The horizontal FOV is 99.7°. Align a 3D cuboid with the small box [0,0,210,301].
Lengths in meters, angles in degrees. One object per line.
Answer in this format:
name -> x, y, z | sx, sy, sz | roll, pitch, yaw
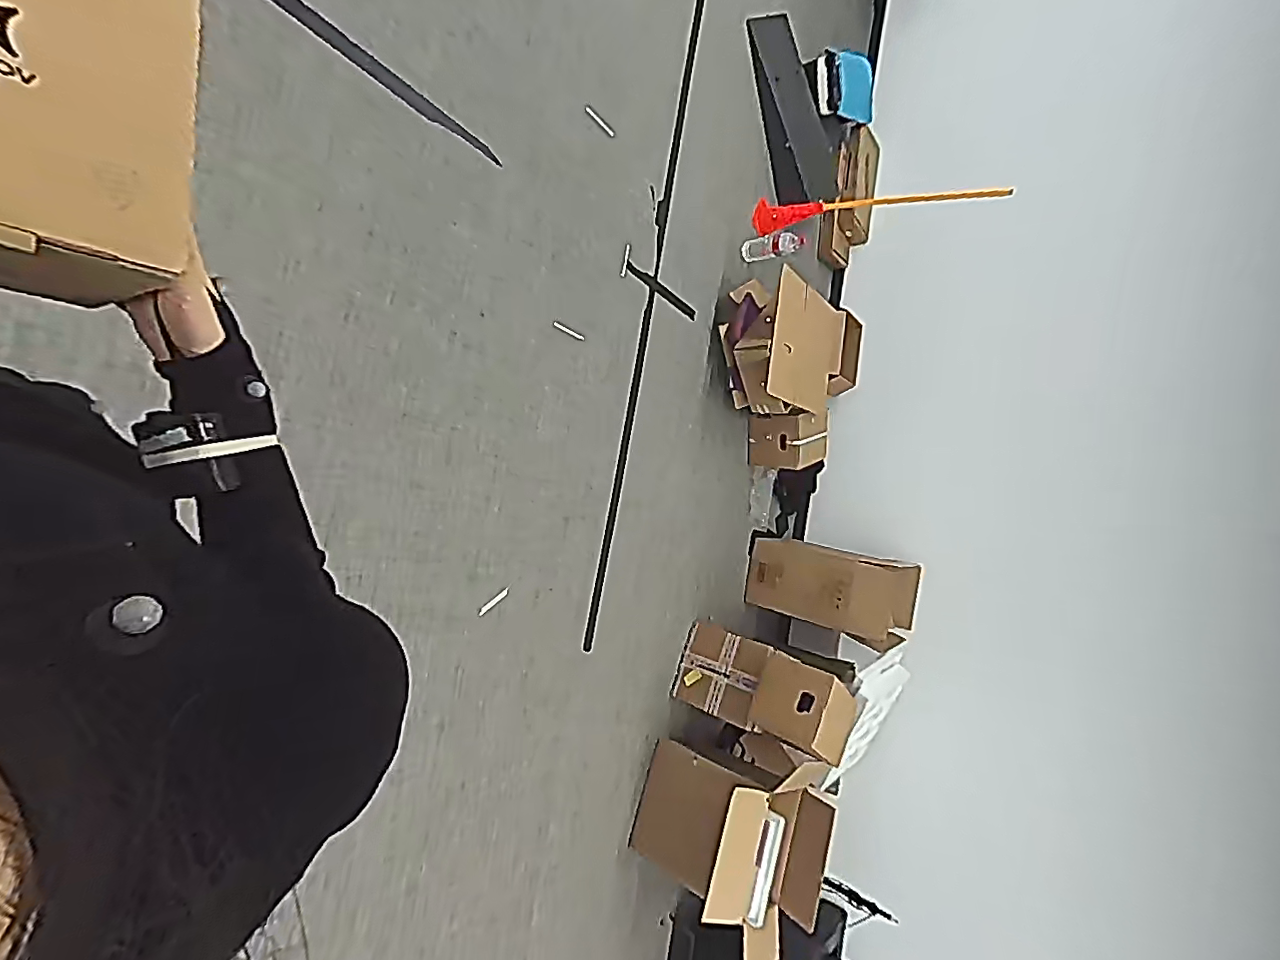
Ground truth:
small box -> -0.375, -0.210, 0.297 | 0.168, 0.176, 0.179 | 2, 92, -59
